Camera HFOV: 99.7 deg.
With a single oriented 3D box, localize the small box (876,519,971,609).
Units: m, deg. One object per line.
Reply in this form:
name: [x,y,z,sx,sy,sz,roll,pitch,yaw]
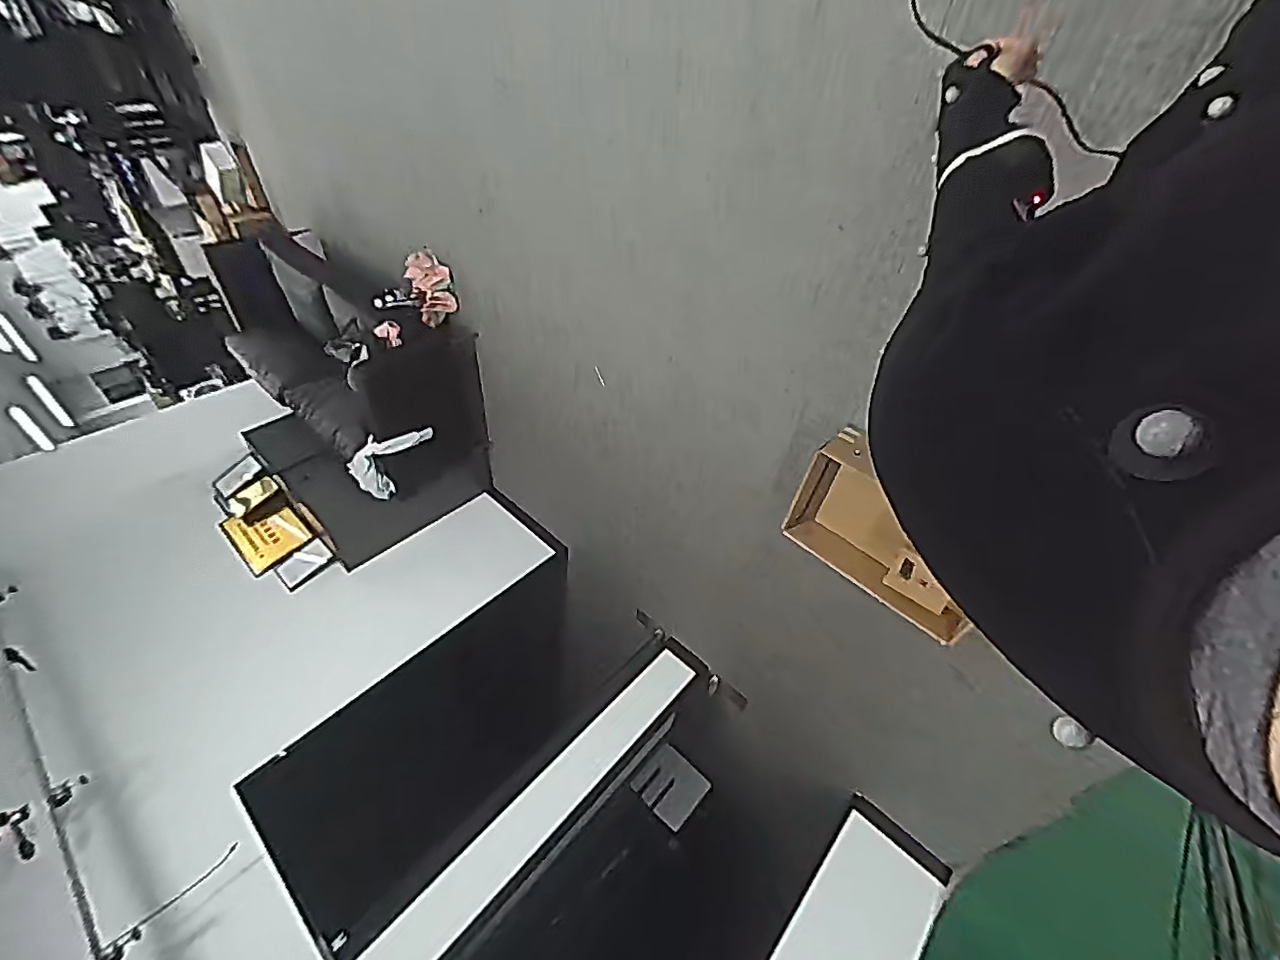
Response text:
small box: [0.847,0.242,1.615,0.179,0.176,0.168,31,139,25]
